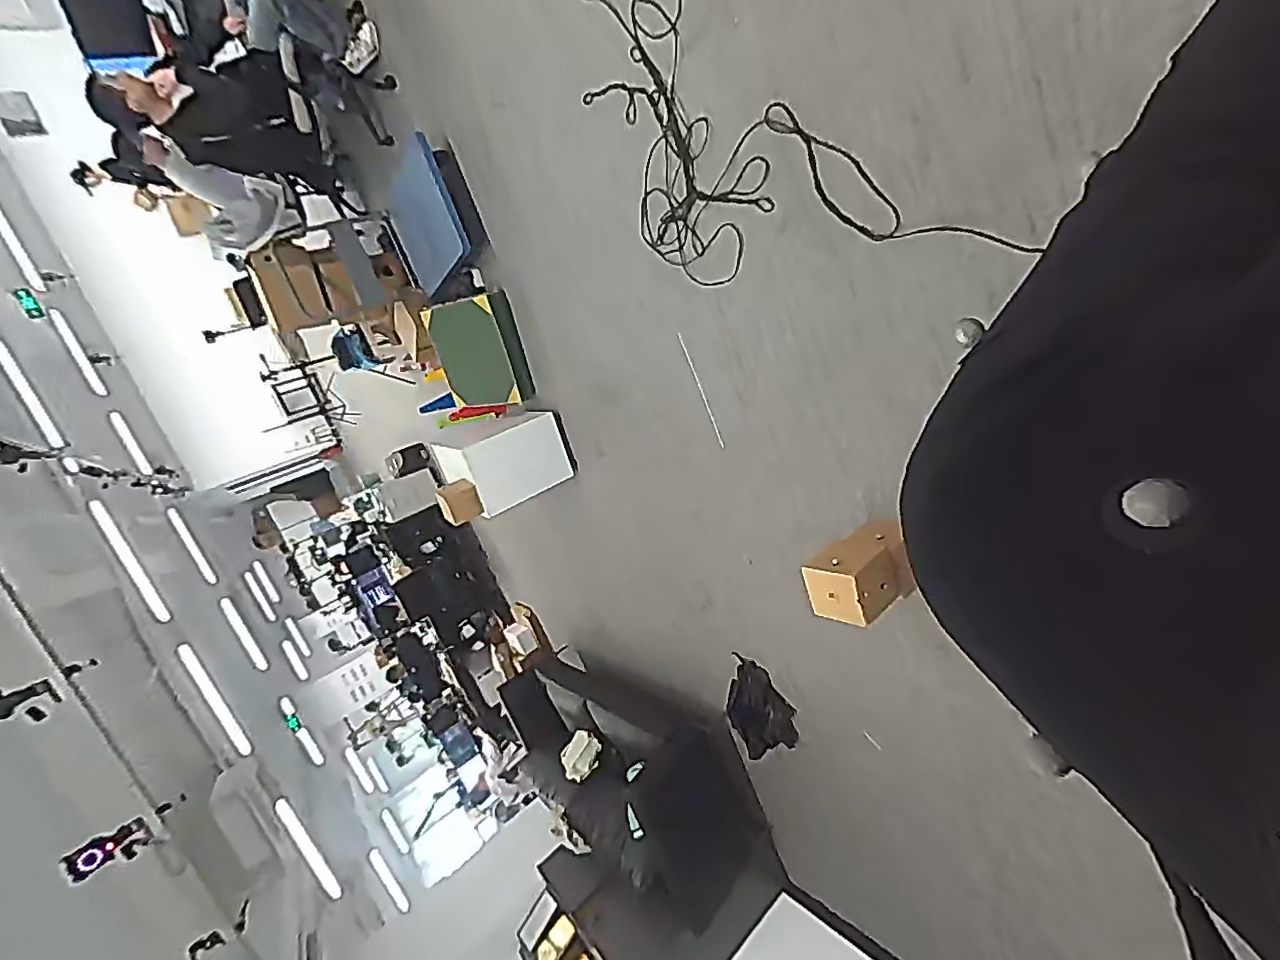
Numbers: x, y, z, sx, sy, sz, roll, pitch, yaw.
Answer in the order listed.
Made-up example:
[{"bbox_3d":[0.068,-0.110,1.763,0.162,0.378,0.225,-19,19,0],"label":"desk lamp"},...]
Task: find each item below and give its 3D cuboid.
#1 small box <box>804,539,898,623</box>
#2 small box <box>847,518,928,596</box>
[{"bbox_3d":[0.611,0.282,1.563,0.179,0.176,0.168,0,114,55],"label":"small box"},{"bbox_3d":[0.745,0.225,1.638,0.179,0.176,0.168,-1,114,55],"label":"small box"}]
